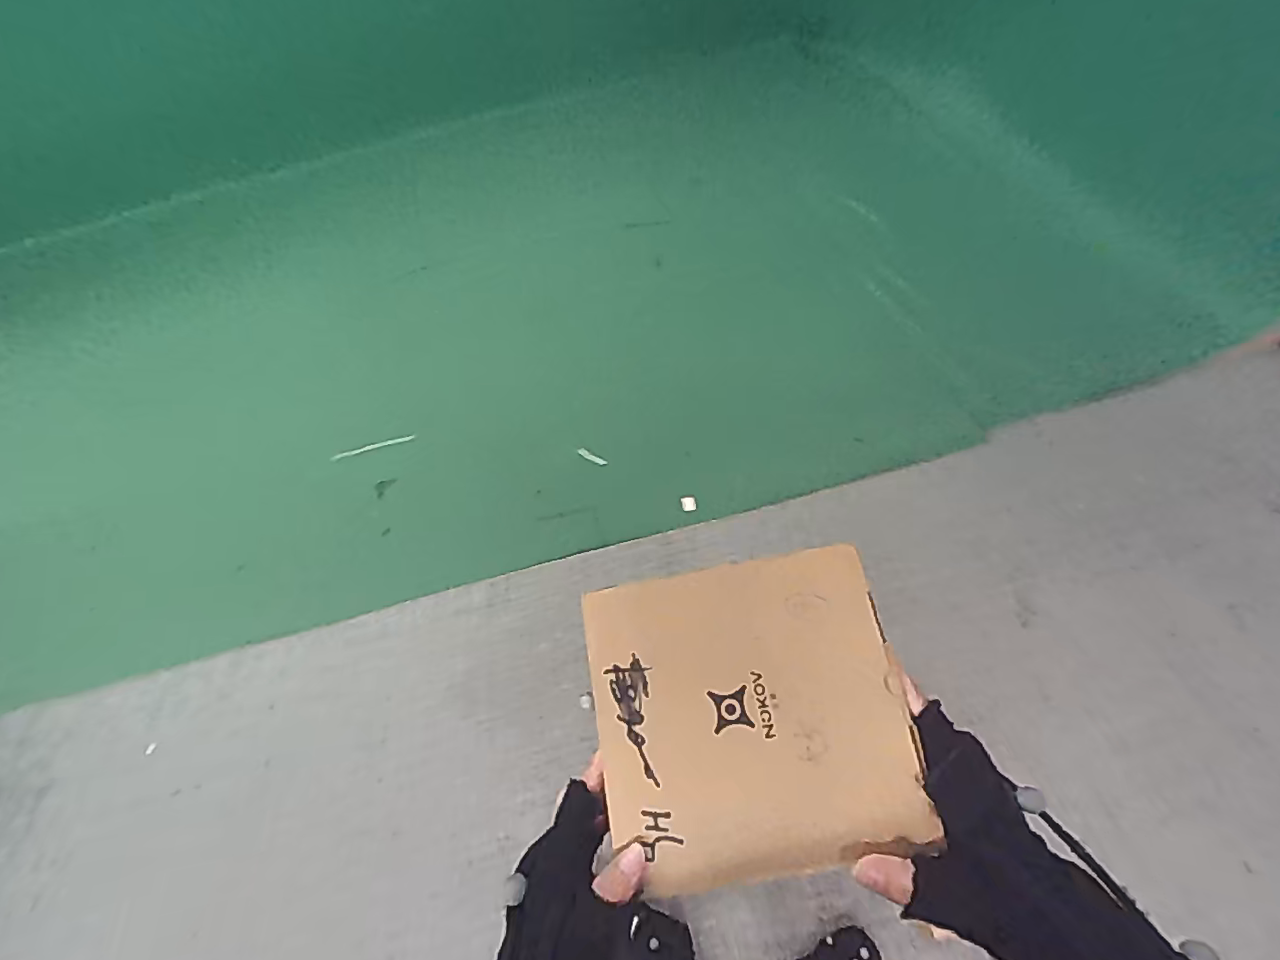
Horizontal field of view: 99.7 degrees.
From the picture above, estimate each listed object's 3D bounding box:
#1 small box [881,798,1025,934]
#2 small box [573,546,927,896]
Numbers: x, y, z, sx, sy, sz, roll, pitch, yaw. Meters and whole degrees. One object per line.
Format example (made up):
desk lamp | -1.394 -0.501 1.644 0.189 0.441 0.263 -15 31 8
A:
small box | 0.571 0.727 1.028 0.168 0.176 0.179 -14 53 0
small box | 0.063 0.161 0.390 0.179 0.176 0.168 -13 67 2
